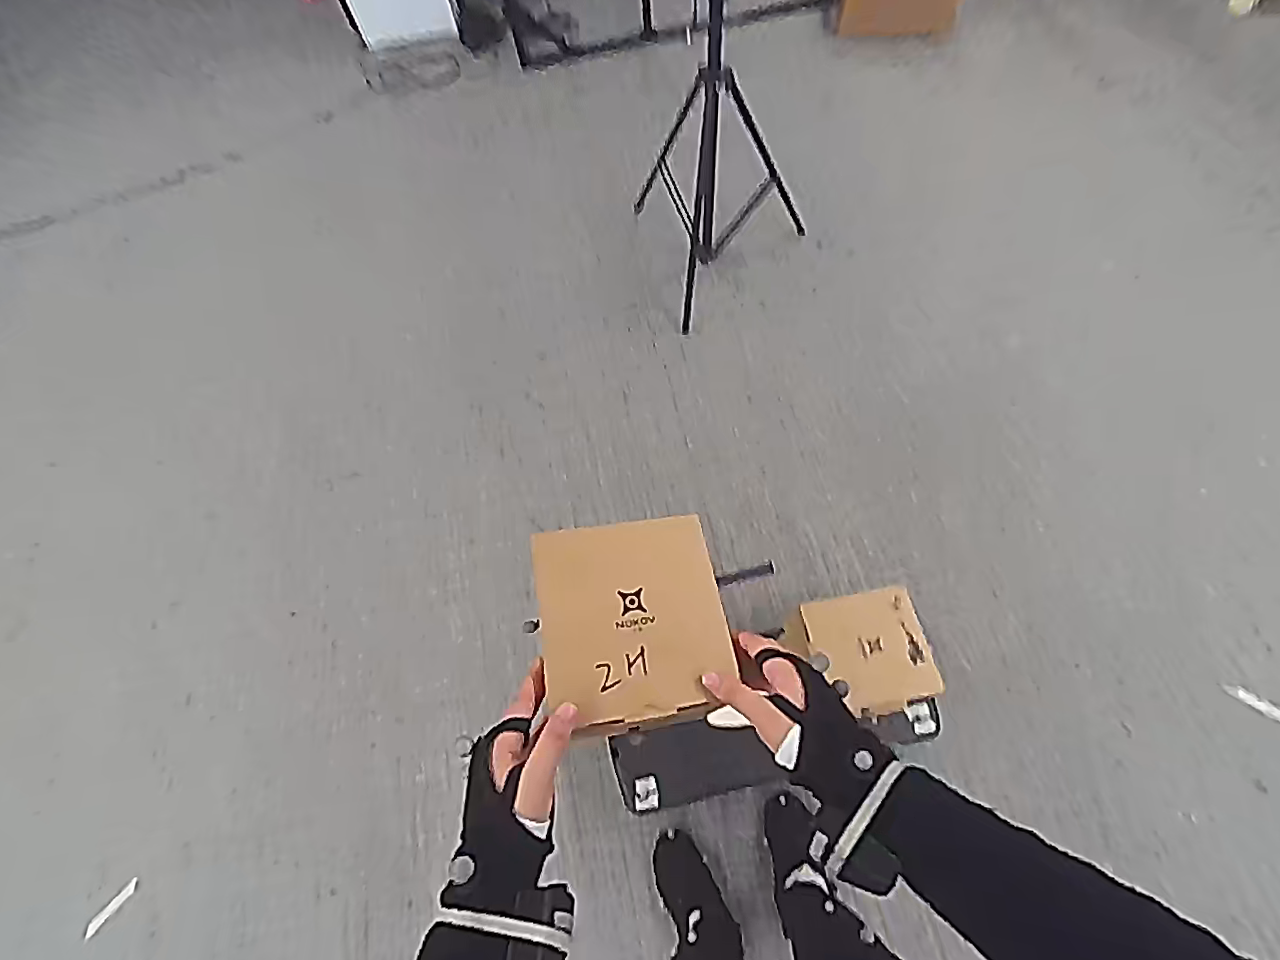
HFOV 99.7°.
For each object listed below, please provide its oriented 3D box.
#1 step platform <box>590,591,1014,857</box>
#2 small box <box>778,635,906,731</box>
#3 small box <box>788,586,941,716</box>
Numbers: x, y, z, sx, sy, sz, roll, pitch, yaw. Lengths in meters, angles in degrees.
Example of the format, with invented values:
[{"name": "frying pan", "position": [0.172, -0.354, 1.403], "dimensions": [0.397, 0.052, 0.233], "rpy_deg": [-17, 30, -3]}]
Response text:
[{"name": "step platform", "position": [0.264, 0.432, 0.983], "dimensions": [0.684, 0.204, 0.286], "rpy_deg": [-14, 64, -2]}, {"name": "small box", "position": [0.370, 0.377, 1.040], "dimensions": [0.179, 0.176, 0.168], "rpy_deg": [-13, 64, 0]}, {"name": "small box", "position": [0.355, 0.291, 0.901], "dimensions": [0.179, 0.176, 0.168], "rpy_deg": [-11, 64, 1]}]
